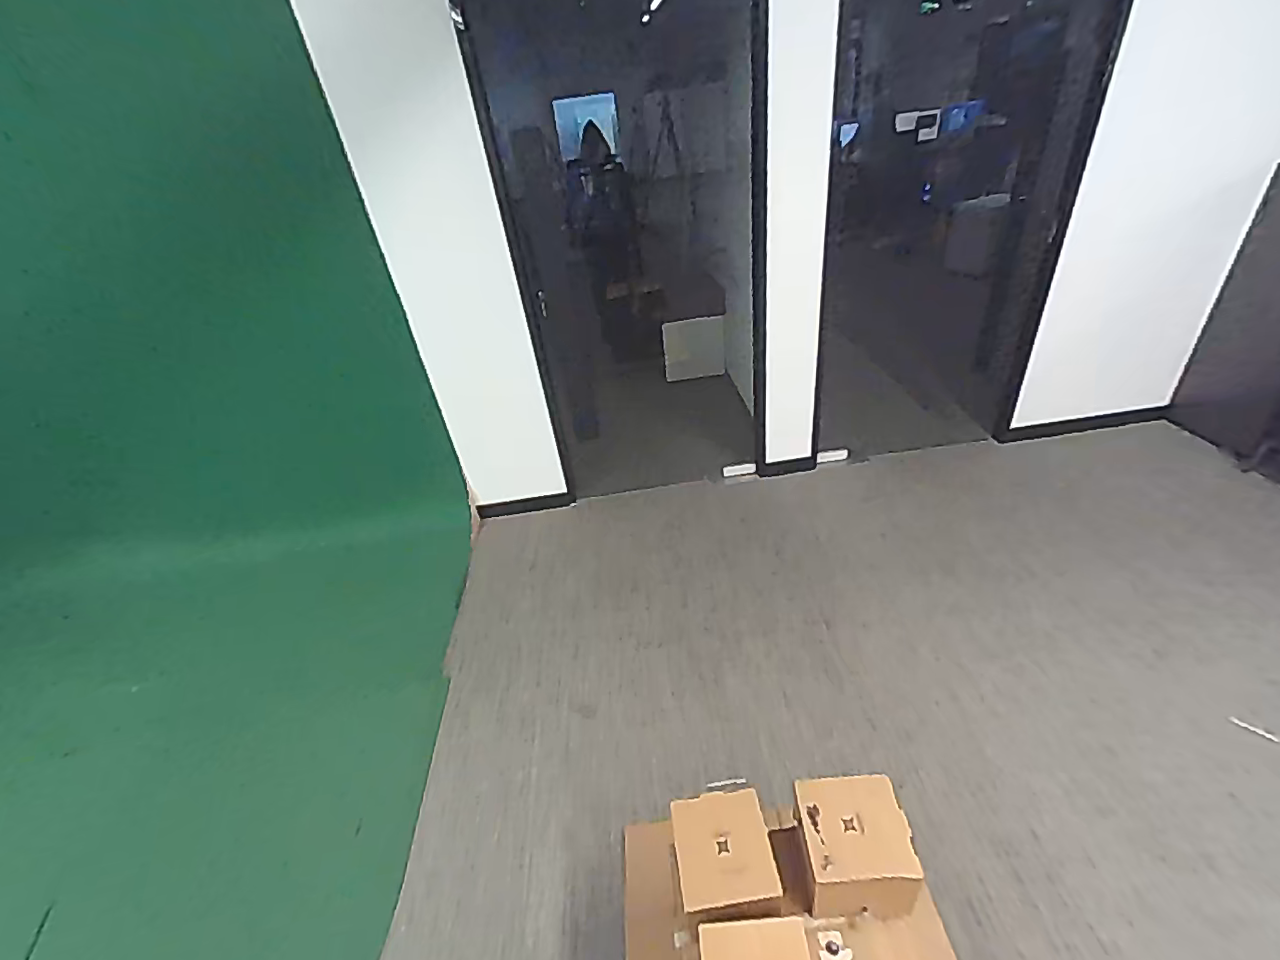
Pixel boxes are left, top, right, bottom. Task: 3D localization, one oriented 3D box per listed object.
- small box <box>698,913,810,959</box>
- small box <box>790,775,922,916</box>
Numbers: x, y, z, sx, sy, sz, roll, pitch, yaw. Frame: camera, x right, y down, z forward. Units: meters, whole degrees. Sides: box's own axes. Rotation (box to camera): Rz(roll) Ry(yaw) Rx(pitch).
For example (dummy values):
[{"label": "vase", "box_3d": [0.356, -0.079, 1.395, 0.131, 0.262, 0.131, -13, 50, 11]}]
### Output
[{"label": "small box", "box_3d": [0.180, 0.802, 0.827, 0.168, 0.176, 0.179, -6, 36, 2]}, {"label": "small box", "box_3d": [0.379, 0.664, 0.984, 0.179, 0.176, 0.168, -6, 34, 5]}]
